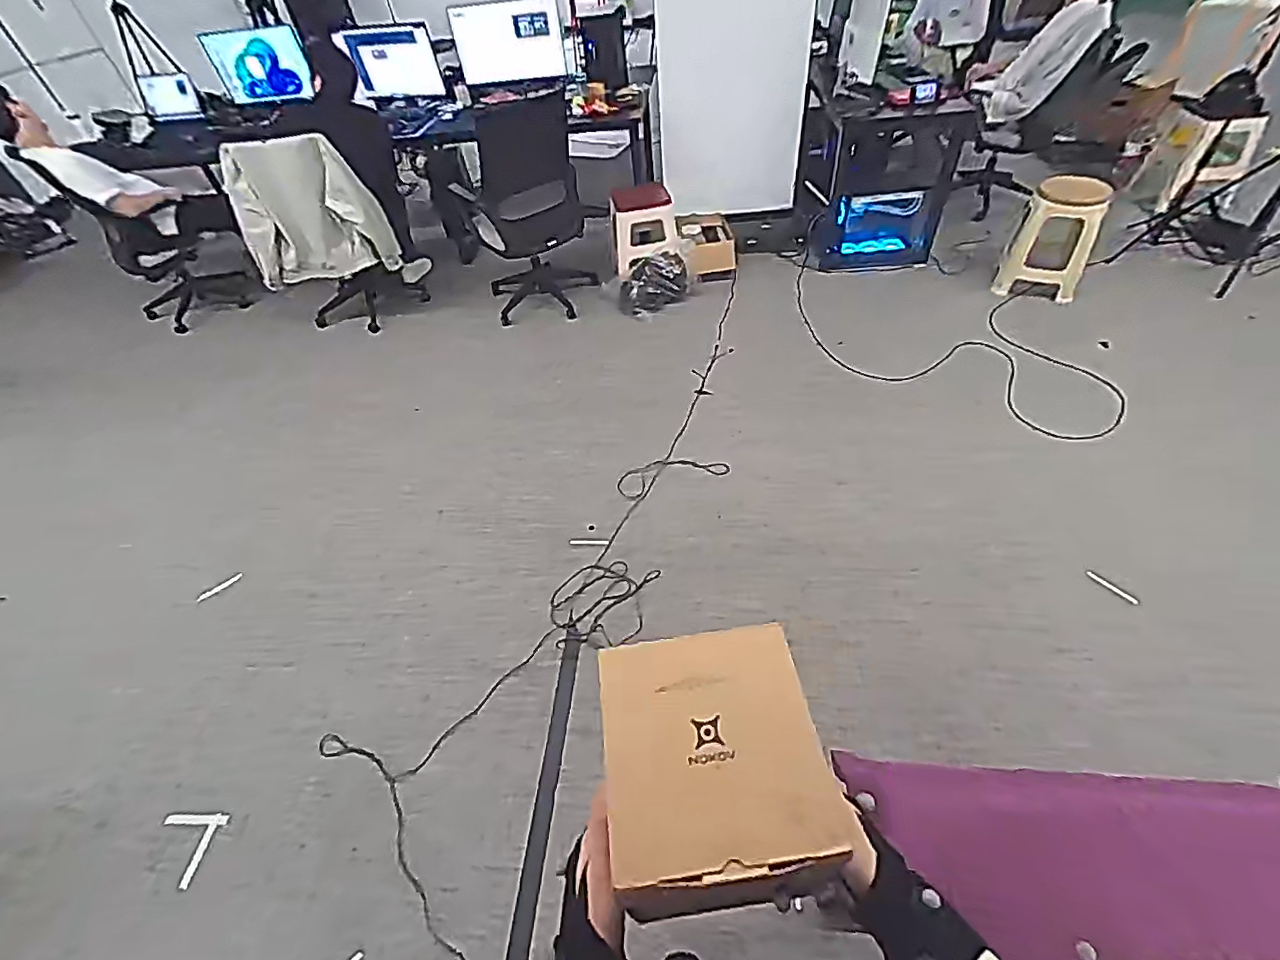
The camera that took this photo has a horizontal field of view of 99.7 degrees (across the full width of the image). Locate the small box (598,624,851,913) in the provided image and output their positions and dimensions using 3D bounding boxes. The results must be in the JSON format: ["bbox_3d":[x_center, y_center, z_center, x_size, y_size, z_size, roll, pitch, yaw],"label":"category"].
[{"bbox_3d":[0.060,0.255,0.473,0.168,0.176,0.179,-8,44,-2],"label":"small box"}]
